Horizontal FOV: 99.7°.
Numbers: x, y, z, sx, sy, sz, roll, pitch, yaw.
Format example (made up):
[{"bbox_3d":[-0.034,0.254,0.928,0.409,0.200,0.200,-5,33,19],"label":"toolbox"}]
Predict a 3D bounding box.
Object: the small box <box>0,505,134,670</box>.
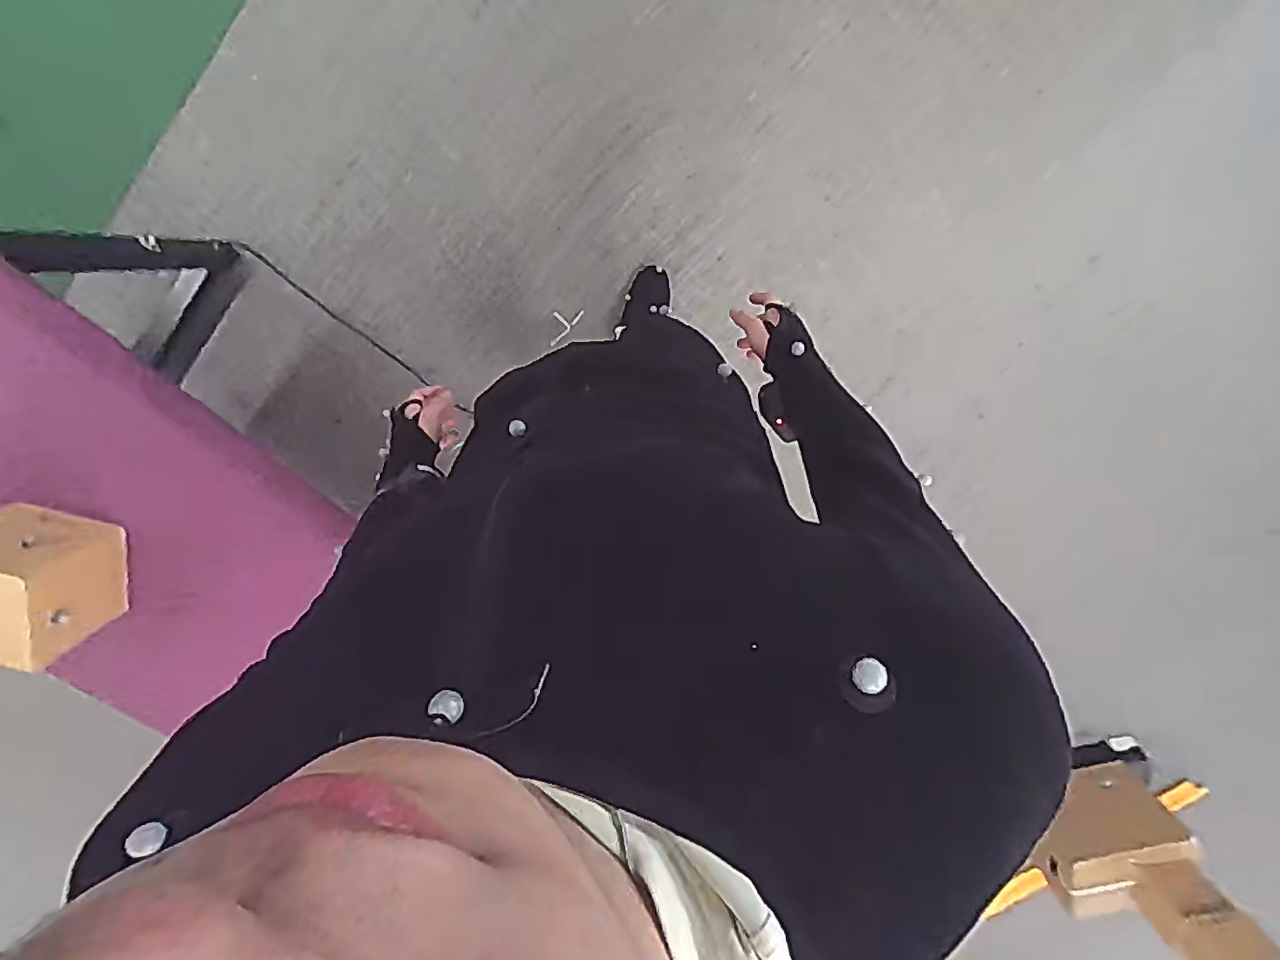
[{"bbox_3d":[-0.958,0.162,0.859,0.168,0.176,0.179,16,112,-8],"label":"small box"}]
